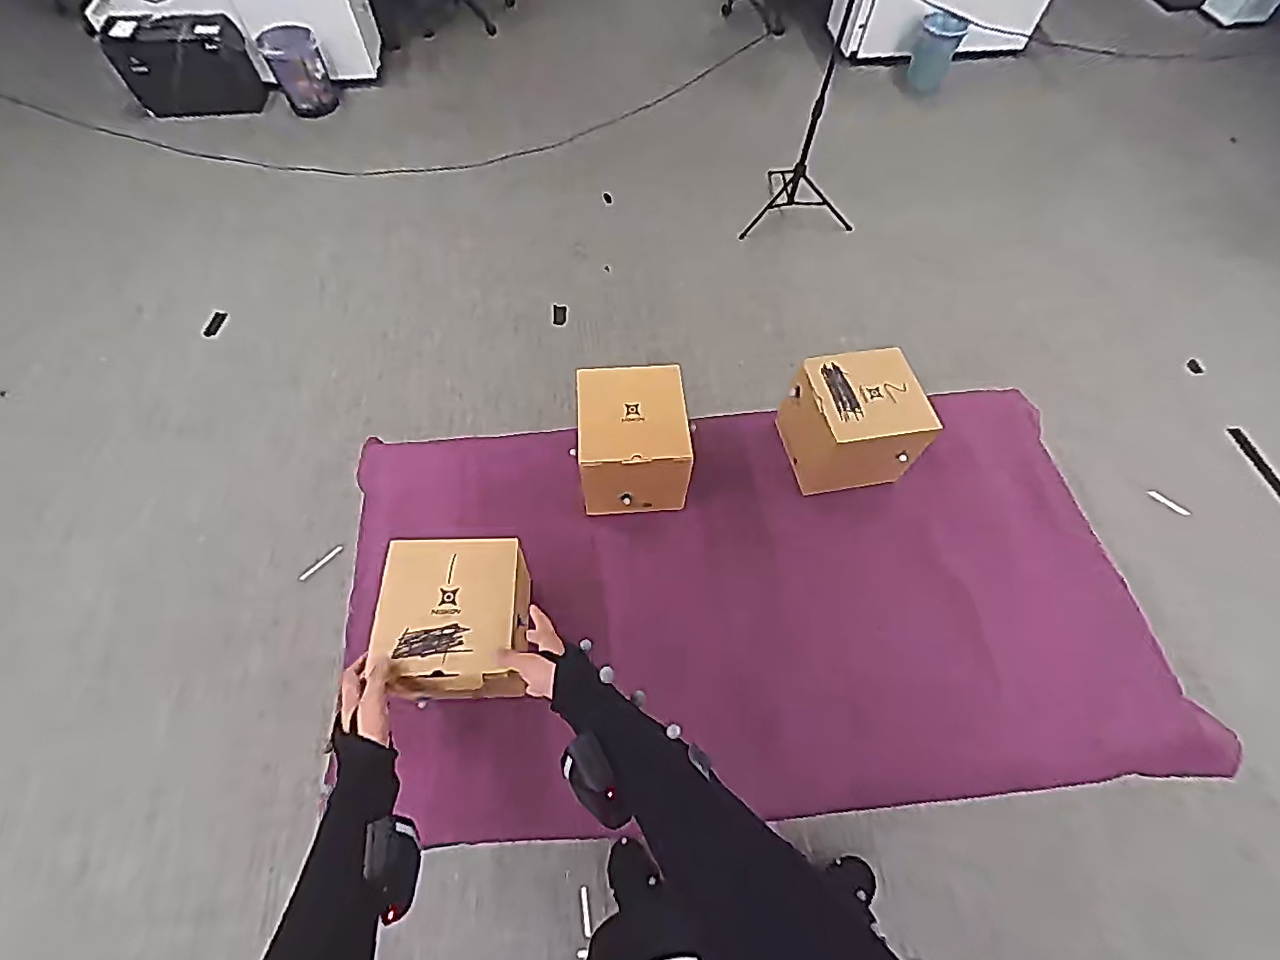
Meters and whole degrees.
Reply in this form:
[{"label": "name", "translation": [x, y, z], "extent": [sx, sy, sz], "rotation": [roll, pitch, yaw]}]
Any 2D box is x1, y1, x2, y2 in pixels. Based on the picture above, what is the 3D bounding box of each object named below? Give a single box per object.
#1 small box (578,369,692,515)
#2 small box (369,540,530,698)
[{"label": "small box", "translation": [-0.015, -0.059, 0.883], "extent": [0.168, 0.176, 0.179], "rotation": [-4, 62, -4]}, {"label": "small box", "translation": [-0.241, 0.195, 0.734], "extent": [0.168, 0.176, 0.179], "rotation": [-1, 60, -6]}]
